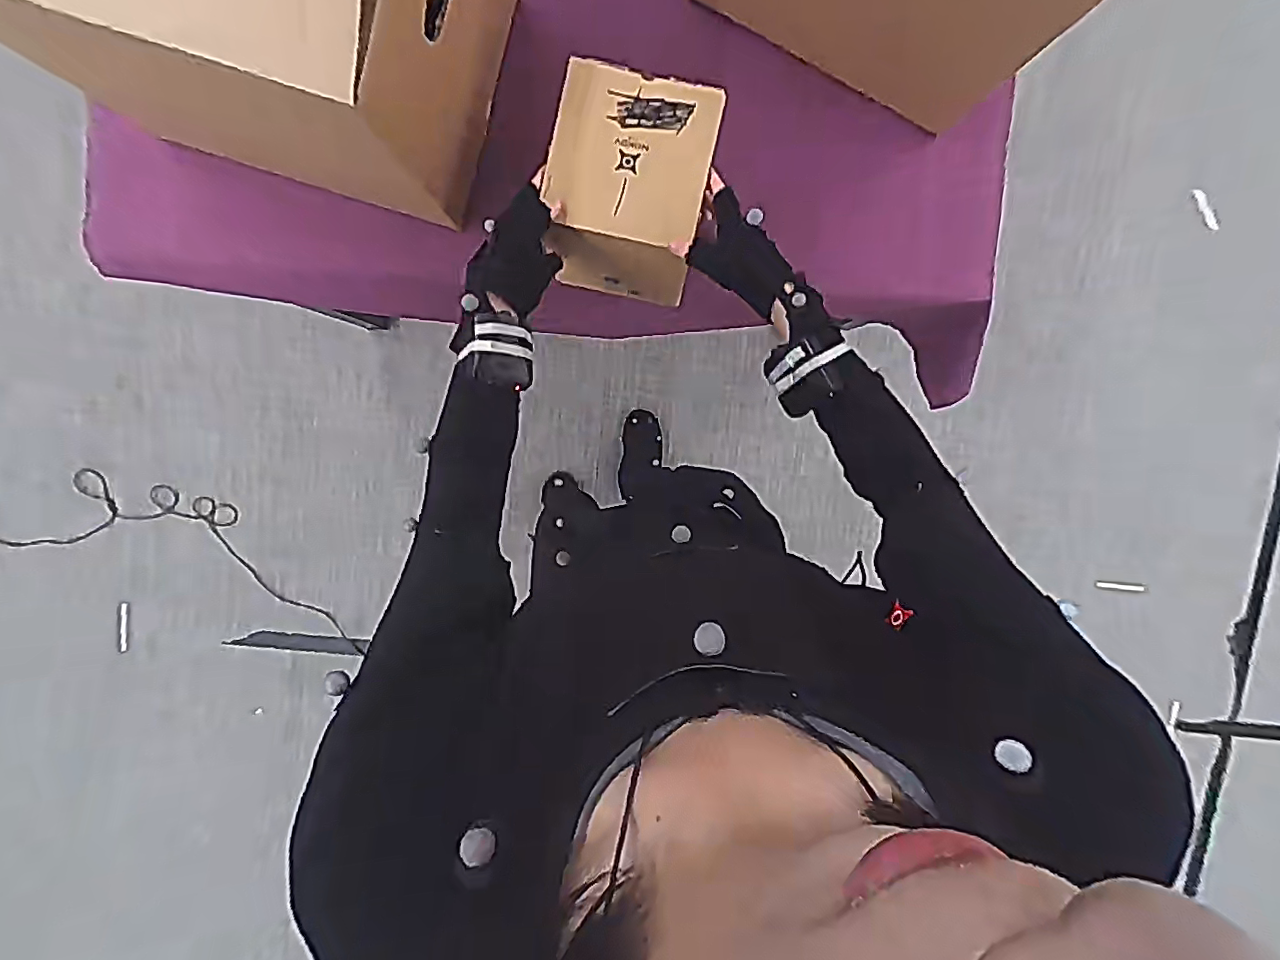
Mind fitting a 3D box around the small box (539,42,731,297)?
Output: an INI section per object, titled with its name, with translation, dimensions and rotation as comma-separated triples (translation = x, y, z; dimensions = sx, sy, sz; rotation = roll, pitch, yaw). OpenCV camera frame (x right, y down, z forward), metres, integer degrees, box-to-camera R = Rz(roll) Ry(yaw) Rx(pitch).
[small box]
translation = -0.006, -0.338, 0.623
dimensions = 0.168, 0.176, 0.179
rotation = 13, 89, 0
